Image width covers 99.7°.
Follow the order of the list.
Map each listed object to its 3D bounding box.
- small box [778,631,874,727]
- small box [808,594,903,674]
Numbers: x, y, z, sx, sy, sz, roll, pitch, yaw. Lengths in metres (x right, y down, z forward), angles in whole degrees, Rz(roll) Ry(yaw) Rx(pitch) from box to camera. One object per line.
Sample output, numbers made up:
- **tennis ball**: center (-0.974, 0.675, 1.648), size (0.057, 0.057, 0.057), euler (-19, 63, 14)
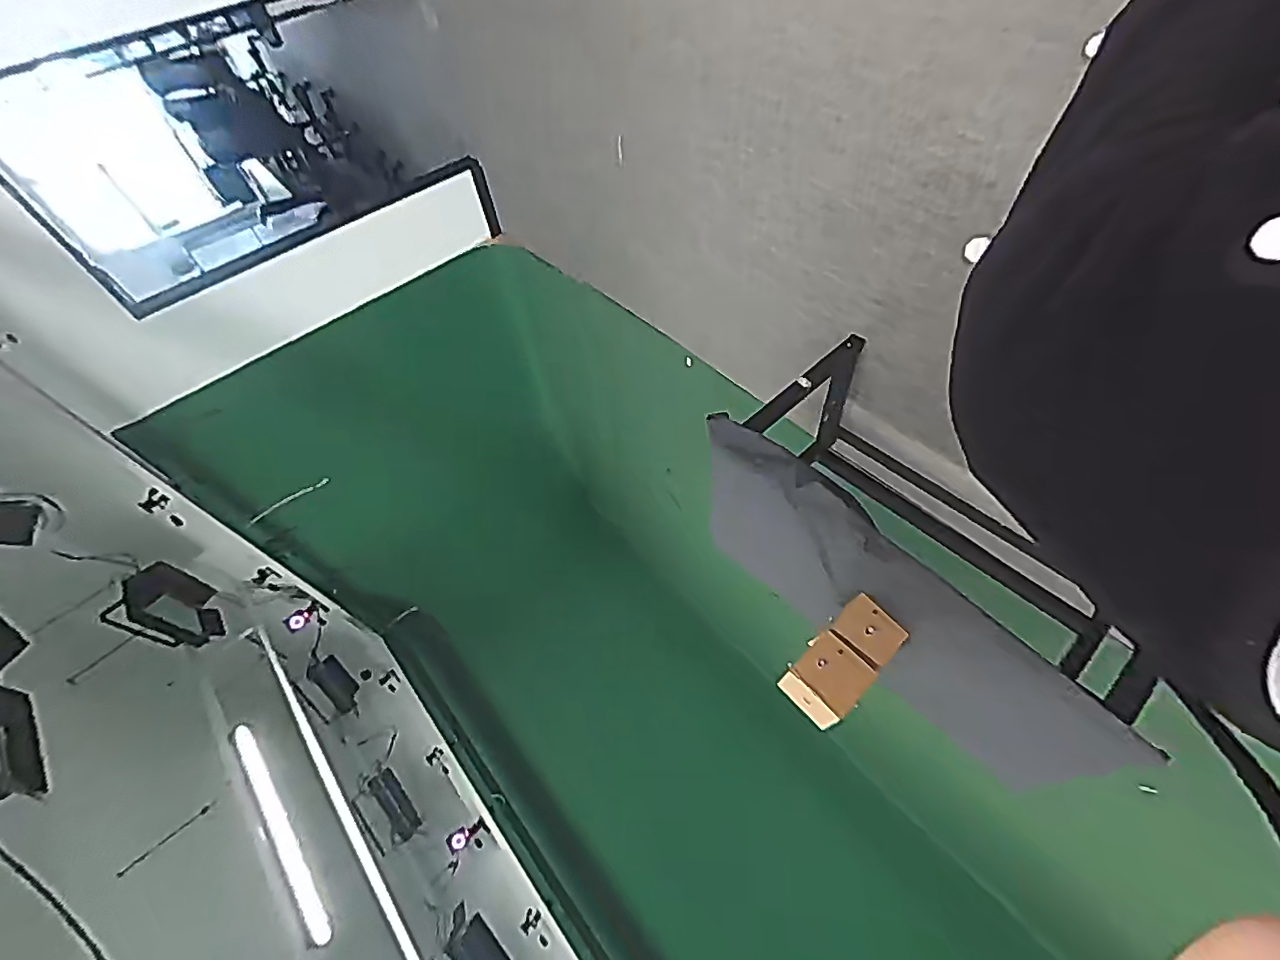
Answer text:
- **small box**: center (0.513, 0.547, 1.493), size (0.168, 0.176, 0.179), euler (43, 159, 25)
- **small box**: center (0.628, 0.459, 1.573), size (0.168, 0.176, 0.179), euler (45, 158, 19)
